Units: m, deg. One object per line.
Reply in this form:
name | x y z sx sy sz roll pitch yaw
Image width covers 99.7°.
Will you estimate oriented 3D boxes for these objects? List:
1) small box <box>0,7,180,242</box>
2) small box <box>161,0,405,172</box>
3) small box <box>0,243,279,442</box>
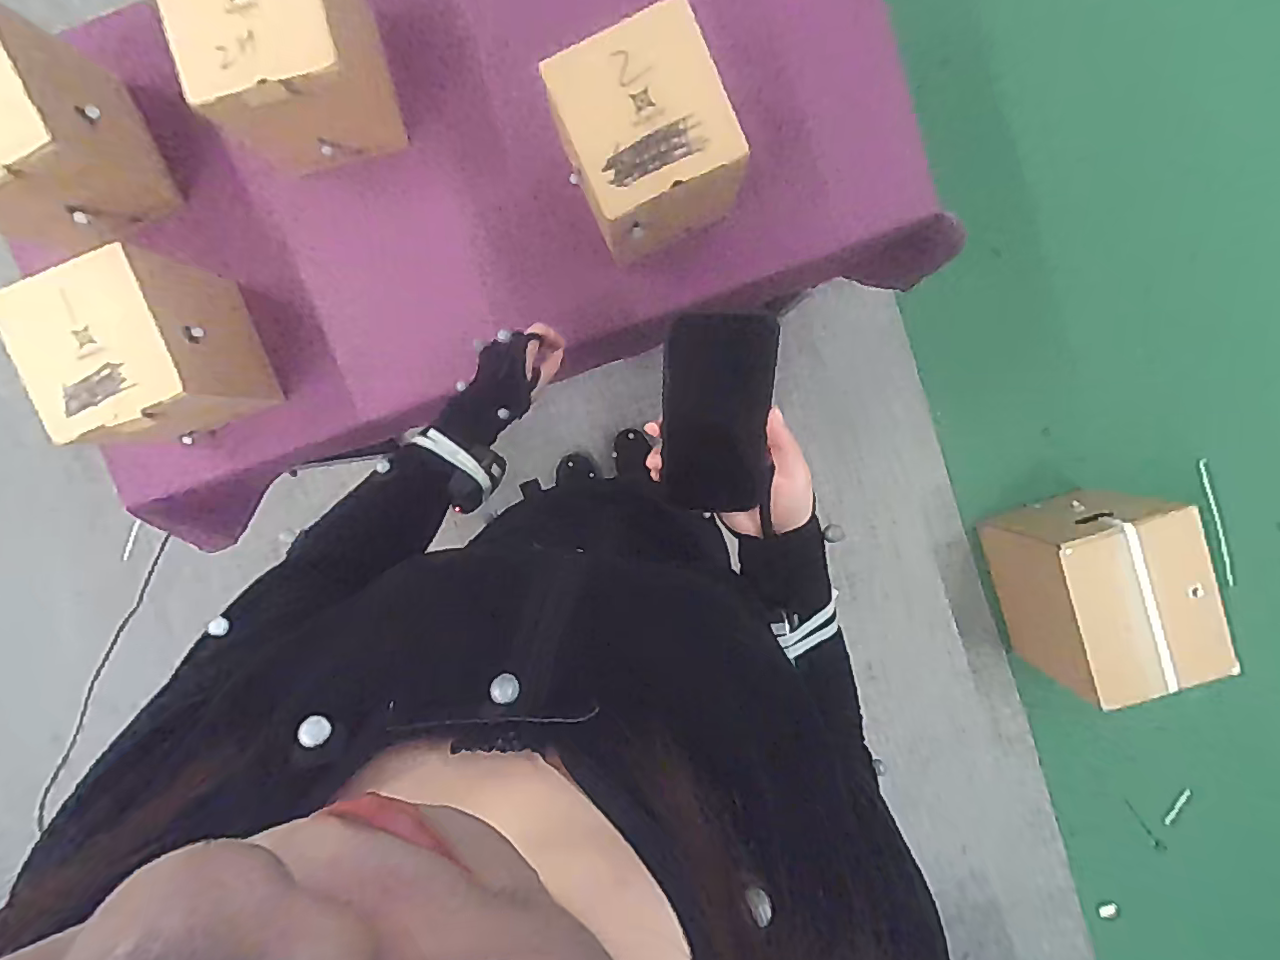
small box | -0.719 -0.409 0.647 0.168 0.176 0.179 -24 96 3
small box | -0.406 -0.501 0.632 0.168 0.176 0.179 -12 96 3
small box | -0.600 -0.157 0.672 0.168 0.176 0.179 -21 94 2
